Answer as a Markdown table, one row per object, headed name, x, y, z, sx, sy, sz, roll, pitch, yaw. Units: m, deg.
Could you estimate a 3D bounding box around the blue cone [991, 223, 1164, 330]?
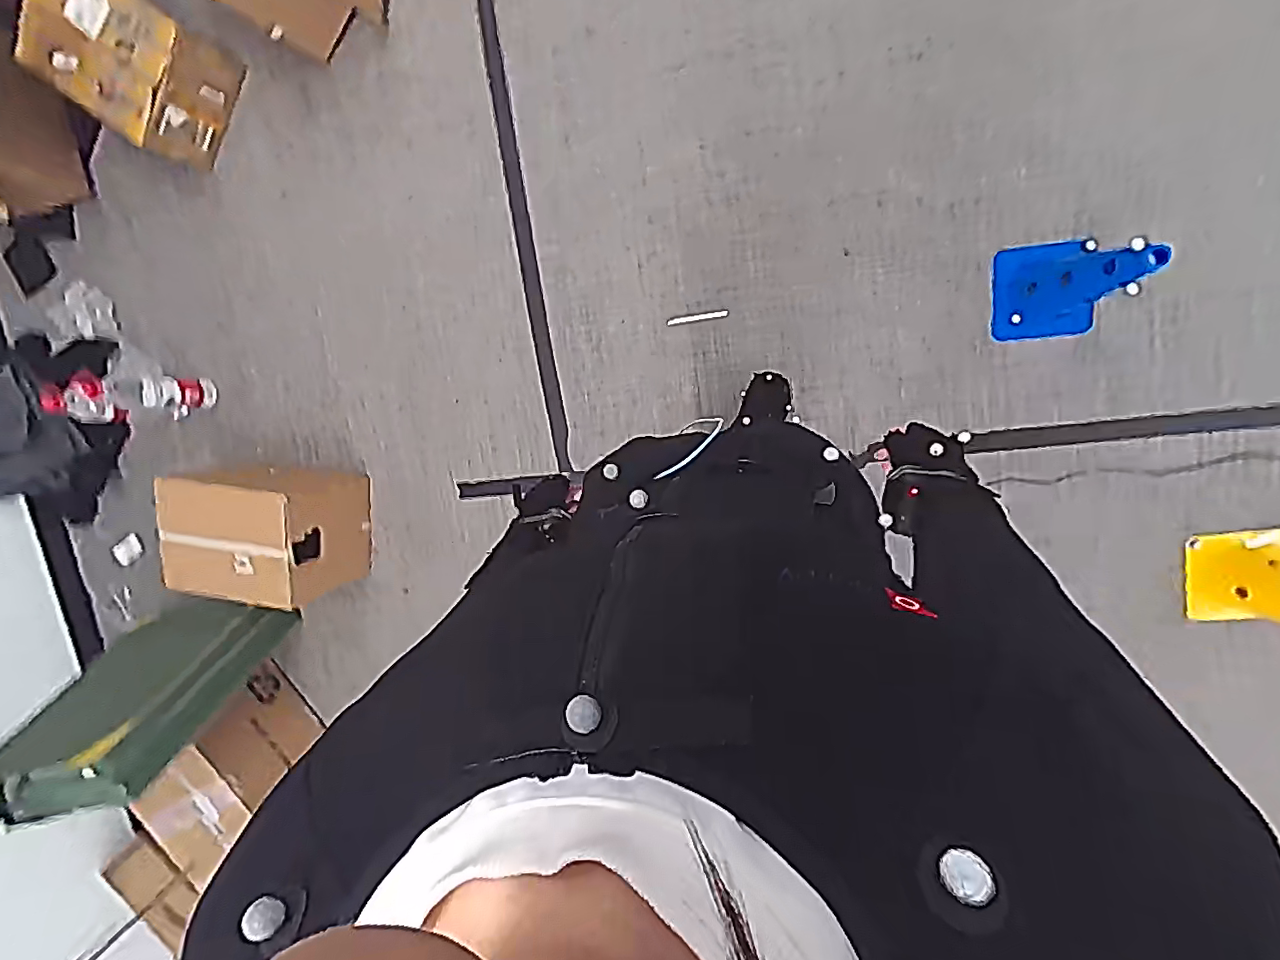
| name | x | y | z | sx | sy | sz | roll | pitch | yaw |
| --- | --- | --- | --- | --- | --- | --- | --- | --- | --- |
| blue cone | 0.847 | -0.407 | 1.032 | 0.193 | 0.380 | 0.192 | -2 | 99 | 12 |
